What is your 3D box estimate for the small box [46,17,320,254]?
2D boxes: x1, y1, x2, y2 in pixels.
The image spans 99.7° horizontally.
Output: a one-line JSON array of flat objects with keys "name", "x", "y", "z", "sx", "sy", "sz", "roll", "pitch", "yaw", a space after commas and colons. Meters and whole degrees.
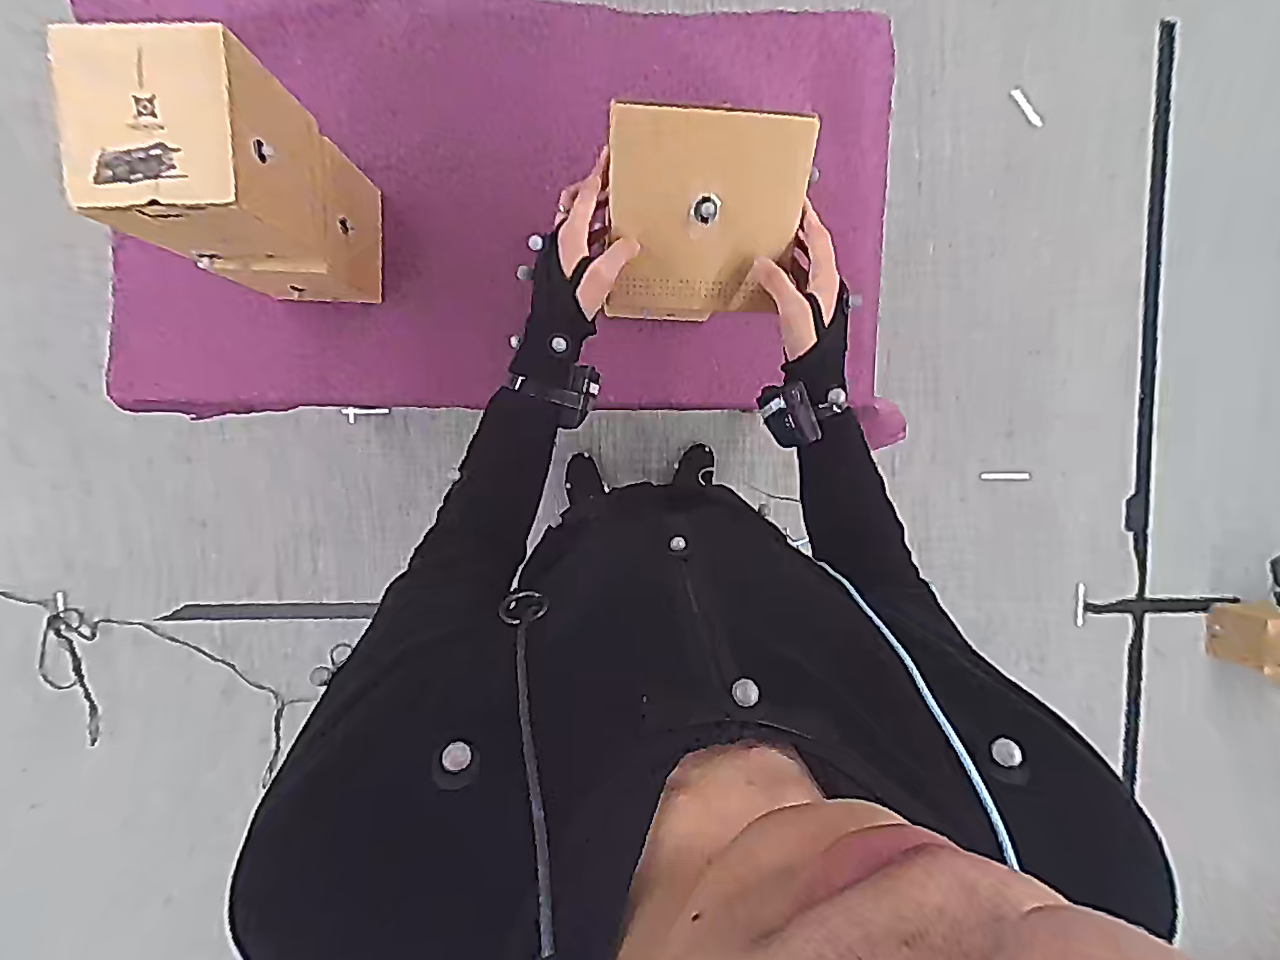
[{"name": "small box", "x": -0.486, "y": -0.365, "z": 0.605, "sx": 0.168, "sy": 0.176, "sz": 0.179, "roll": -2, "pitch": 94, "yaw": -3}]

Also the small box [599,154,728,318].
[{"name": "small box", "x": 0.030, "y": -0.345, "z": 0.798, "sx": 0.168, "sy": 0.176, "sz": 0.179, "roll": 2, "pitch": 94, "yaw": -2}]

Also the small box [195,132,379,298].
[{"name": "small box", "x": -0.490, "y": -0.367, "z": 0.770, "sx": 0.168, "sy": 0.176, "sz": 0.179, "roll": 2, "pitch": 95, "yaw": -3}]
